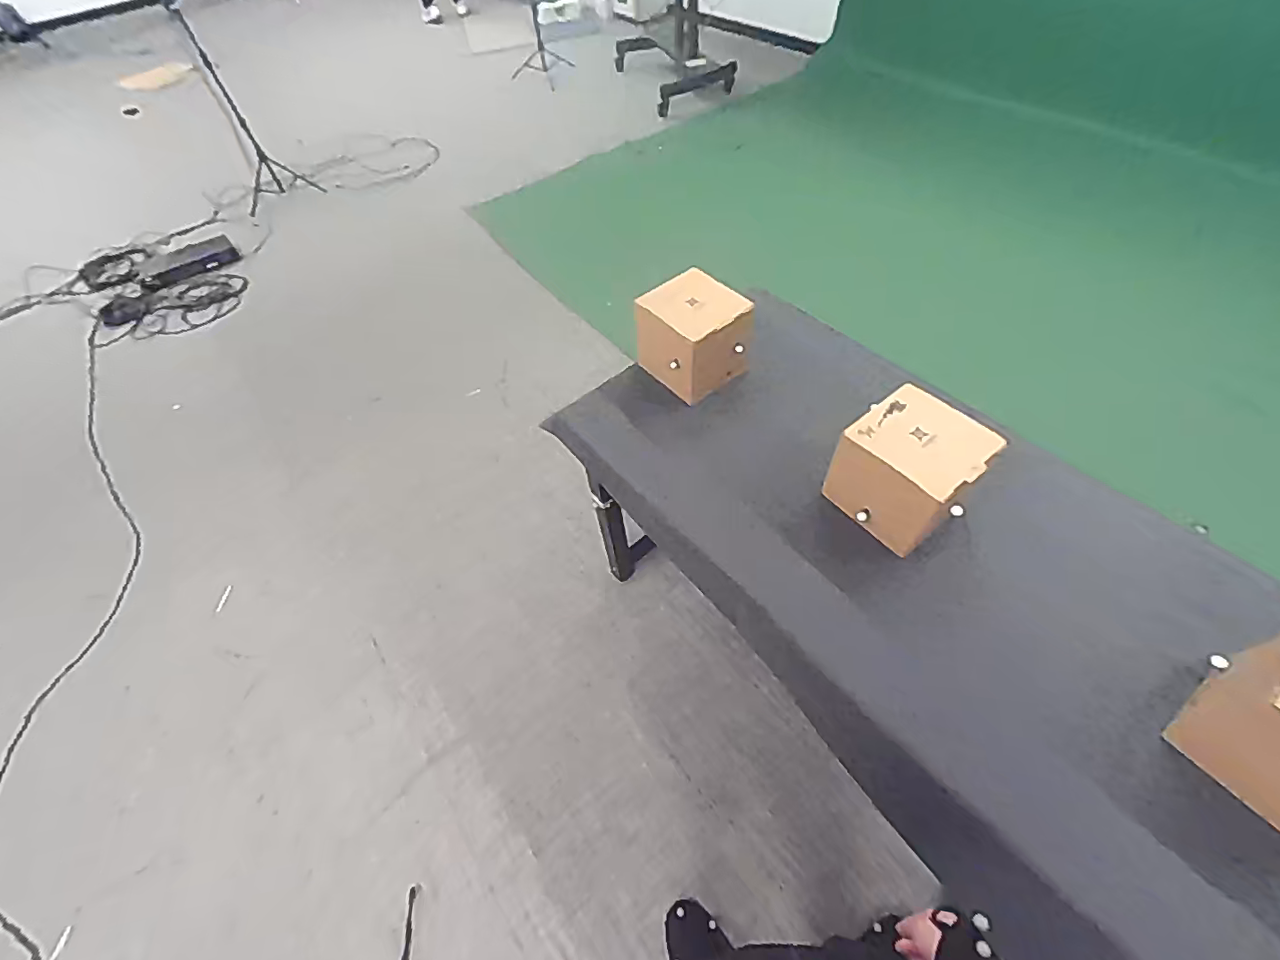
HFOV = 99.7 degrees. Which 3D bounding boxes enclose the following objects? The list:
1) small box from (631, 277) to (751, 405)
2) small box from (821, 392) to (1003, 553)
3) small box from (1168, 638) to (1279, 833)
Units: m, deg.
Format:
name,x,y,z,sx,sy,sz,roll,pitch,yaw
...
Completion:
name,x,y,z,sx,sy,sz,roll,pitch,yaw
small box,0.100,-0.277,1.104,0.168,0.176,0.179,-34,58,-24
small box,0.429,-0.004,0.883,0.168,0.176,0.179,-33,59,-22
small box,0.793,0.303,0.630,0.168,0.176,0.179,-32,58,-20
